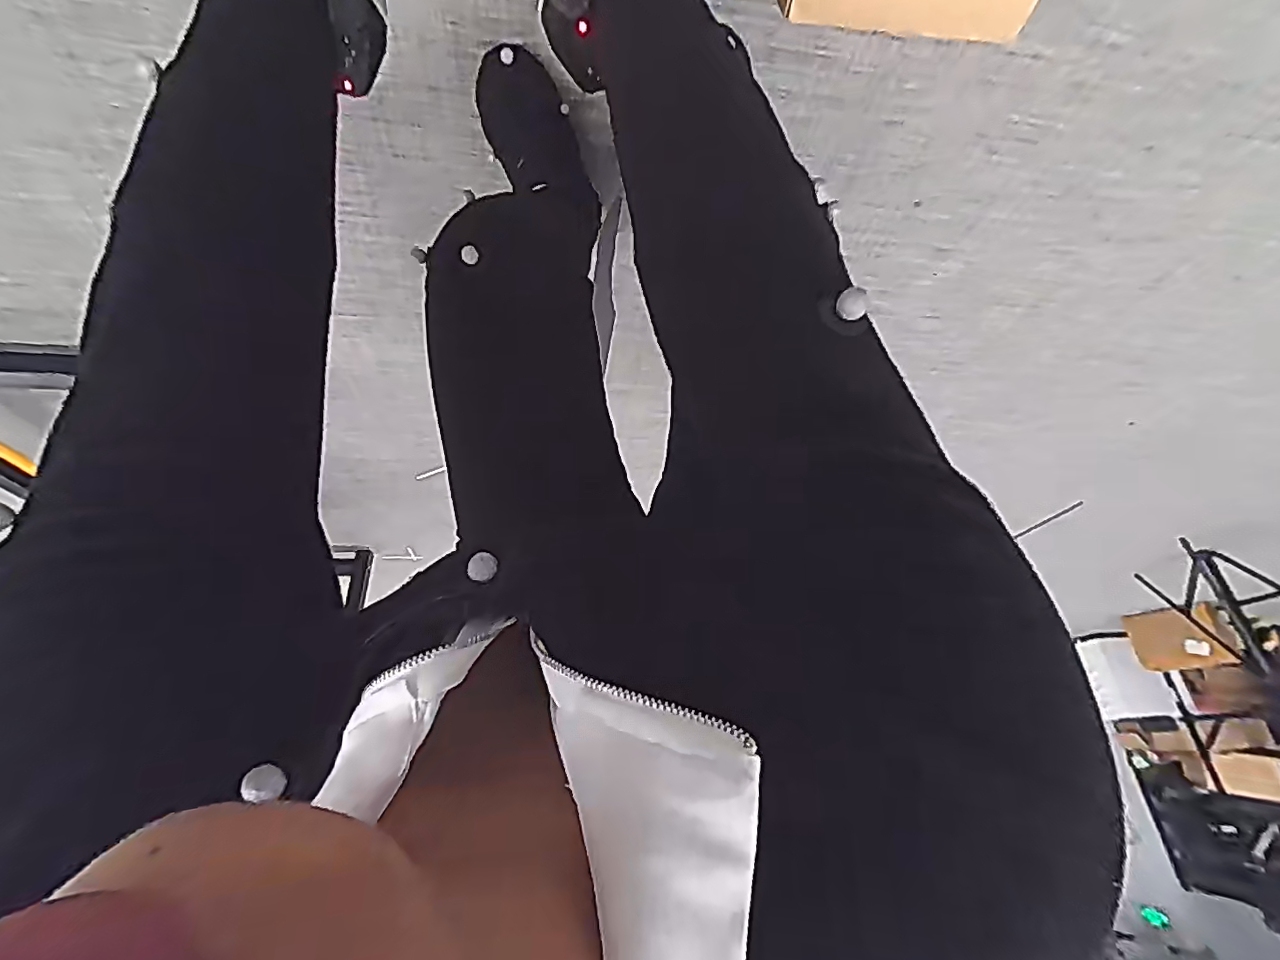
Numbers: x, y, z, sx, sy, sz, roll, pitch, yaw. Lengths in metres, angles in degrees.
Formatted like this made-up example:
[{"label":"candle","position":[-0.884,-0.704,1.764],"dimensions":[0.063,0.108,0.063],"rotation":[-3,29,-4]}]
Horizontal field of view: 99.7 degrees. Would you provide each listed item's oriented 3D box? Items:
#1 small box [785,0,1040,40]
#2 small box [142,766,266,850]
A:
[{"label":"small box","position":[0.187,-0.423,0.342],"dimensions":[0.179,0.176,0.168],"rotation":[0,152,-7]},{"label":"small box","position":[-1.122,0.847,1.408],"dimensions":[0.179,0.176,0.168],"rotation":[1,153,-9]}]
